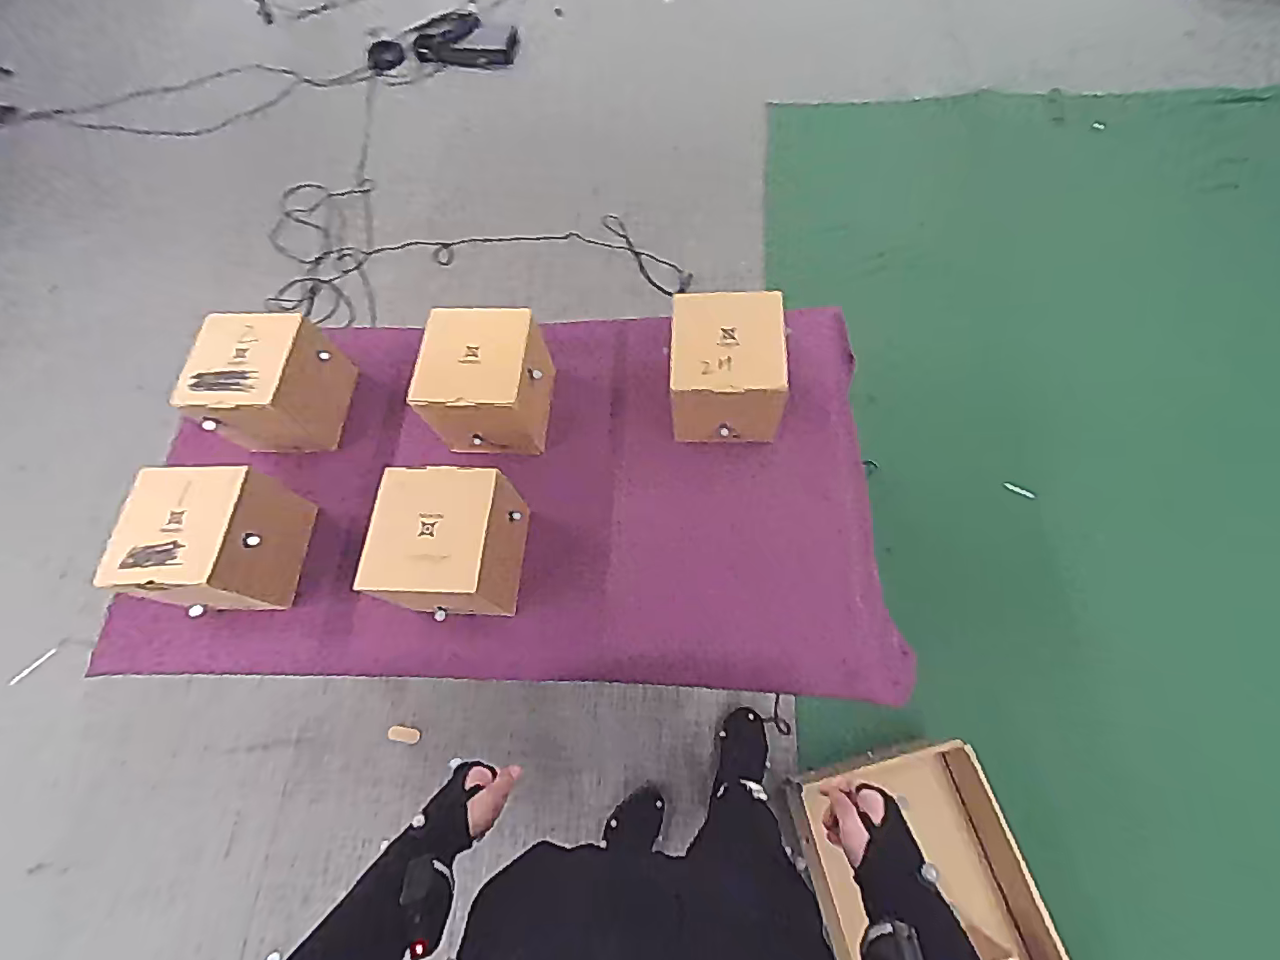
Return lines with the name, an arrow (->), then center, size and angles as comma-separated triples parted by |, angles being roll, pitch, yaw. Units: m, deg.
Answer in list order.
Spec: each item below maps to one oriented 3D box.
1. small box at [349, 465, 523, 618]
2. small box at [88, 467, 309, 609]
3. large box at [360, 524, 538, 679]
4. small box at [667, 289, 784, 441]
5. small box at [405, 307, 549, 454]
small box -> -0.277, 0.093, 0.782 | 0.168, 0.176, 0.179 | 1, 67, 6
small box -> -0.639, 0.093, 0.811 | 0.168, 0.176, 0.179 | -1, 65, 4
large box -> -0.473, 0.304, 1.430 | 0.320, 0.320, 0.408 | 0, 66, 4
small box -> 0.131, -0.177, 0.857 | 0.168, 0.176, 0.179 | 0, 68, 7
small box -> -0.253, -0.159, 0.888 | 0.168, 0.176, 0.179 | 2, 69, 5
